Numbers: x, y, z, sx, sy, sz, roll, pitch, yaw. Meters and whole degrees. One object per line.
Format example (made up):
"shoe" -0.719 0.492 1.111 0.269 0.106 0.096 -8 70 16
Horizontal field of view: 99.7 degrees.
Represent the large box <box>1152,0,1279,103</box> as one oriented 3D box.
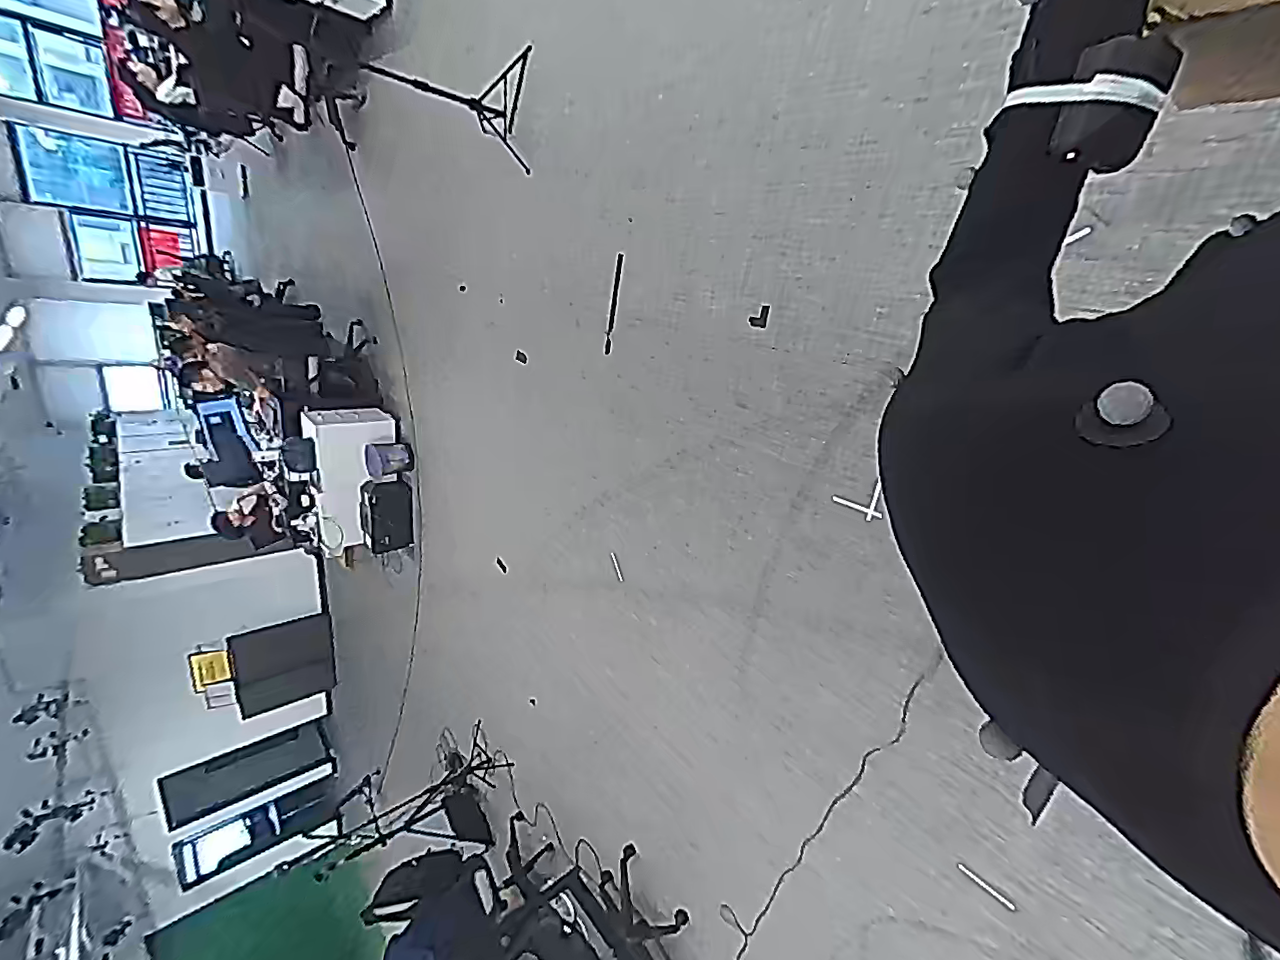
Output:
"large box" 0.571 -0.424 0.262 0.408 0.320 0.320 21 122 40
